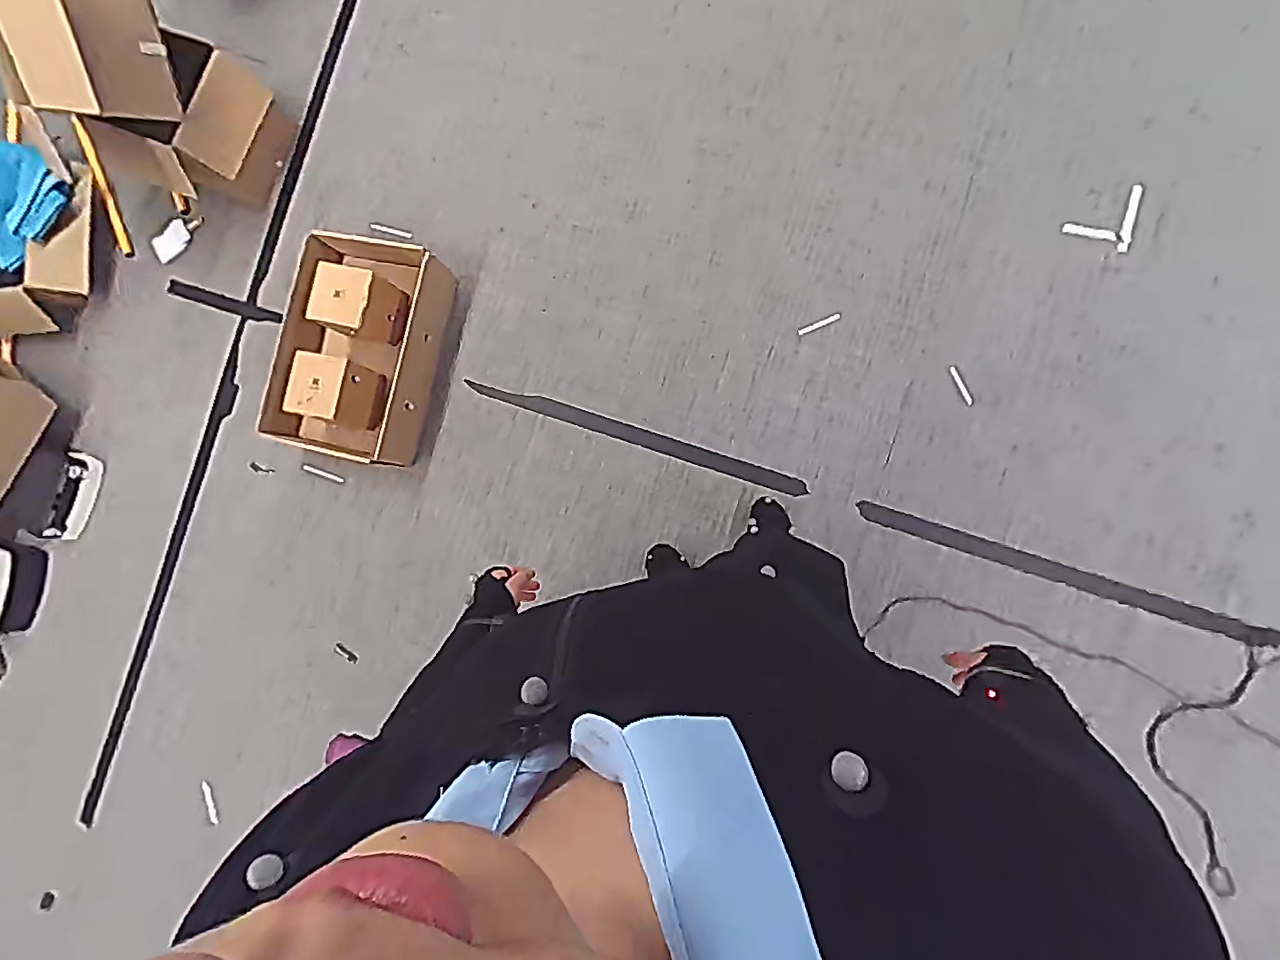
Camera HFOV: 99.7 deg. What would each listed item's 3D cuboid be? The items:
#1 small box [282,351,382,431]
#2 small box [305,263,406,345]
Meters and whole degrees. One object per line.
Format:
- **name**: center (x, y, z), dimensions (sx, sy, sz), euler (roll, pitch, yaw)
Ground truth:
- **small box**: center (-0.878, -0.251, 1.560), dimensions (0.168, 0.176, 0.179), euler (11, 87, 11)
- **small box**: center (-0.819, -0.504, 1.570), dimensions (0.179, 0.176, 0.168), euler (13, 89, 10)
